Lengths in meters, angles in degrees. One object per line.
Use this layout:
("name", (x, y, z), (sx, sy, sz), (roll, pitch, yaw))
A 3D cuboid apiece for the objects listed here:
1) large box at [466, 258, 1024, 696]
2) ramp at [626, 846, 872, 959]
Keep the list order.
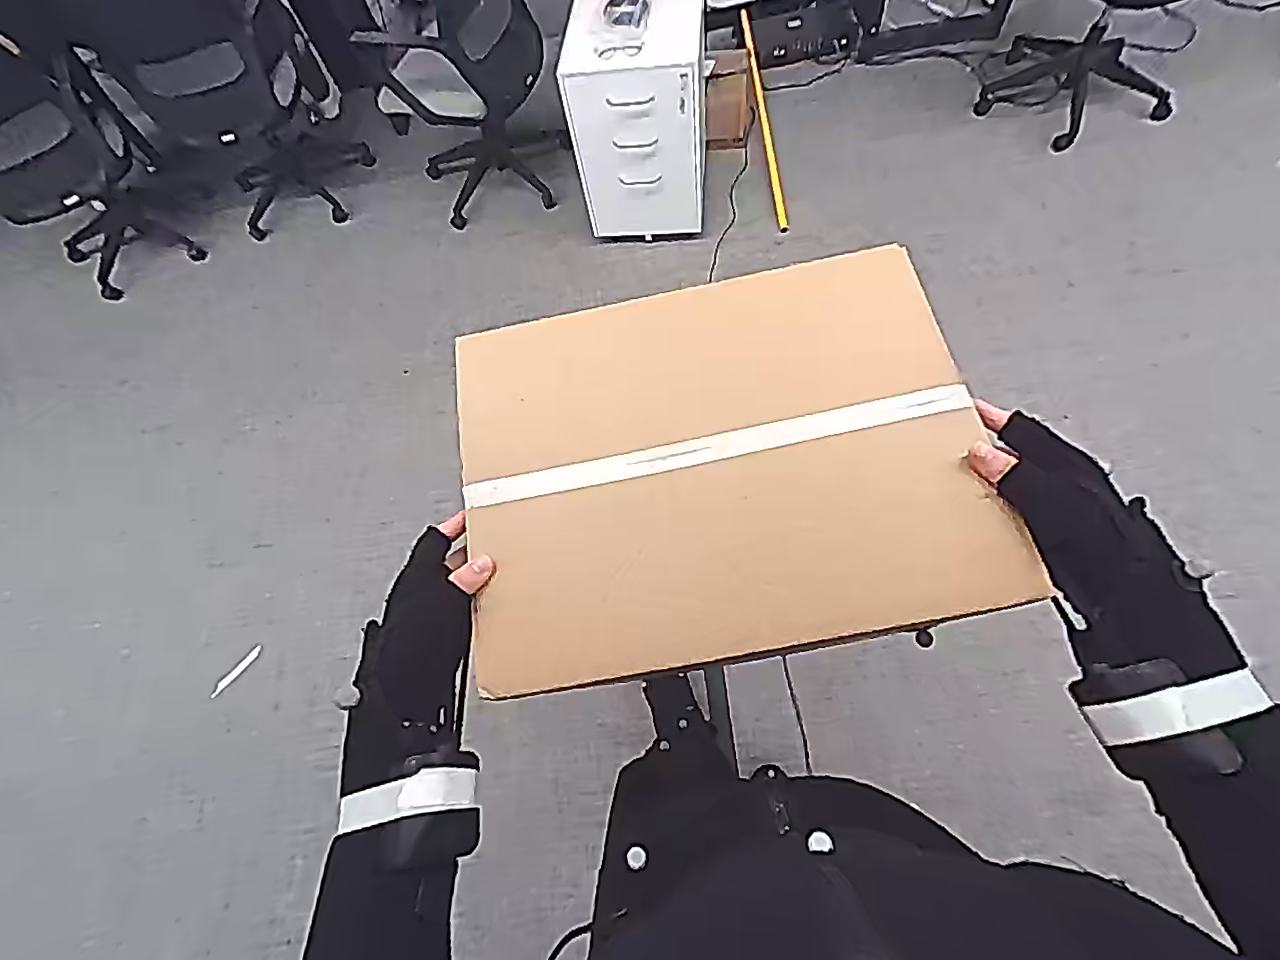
("large box", (0.074, 0.027, 0.582), (0.408, 0.320, 0.320), (-11, 69, 2))
("ramp", (0.238, 1.229, 0.899), (0.509, 0.206, 0.991), (-9, 63, 4))
